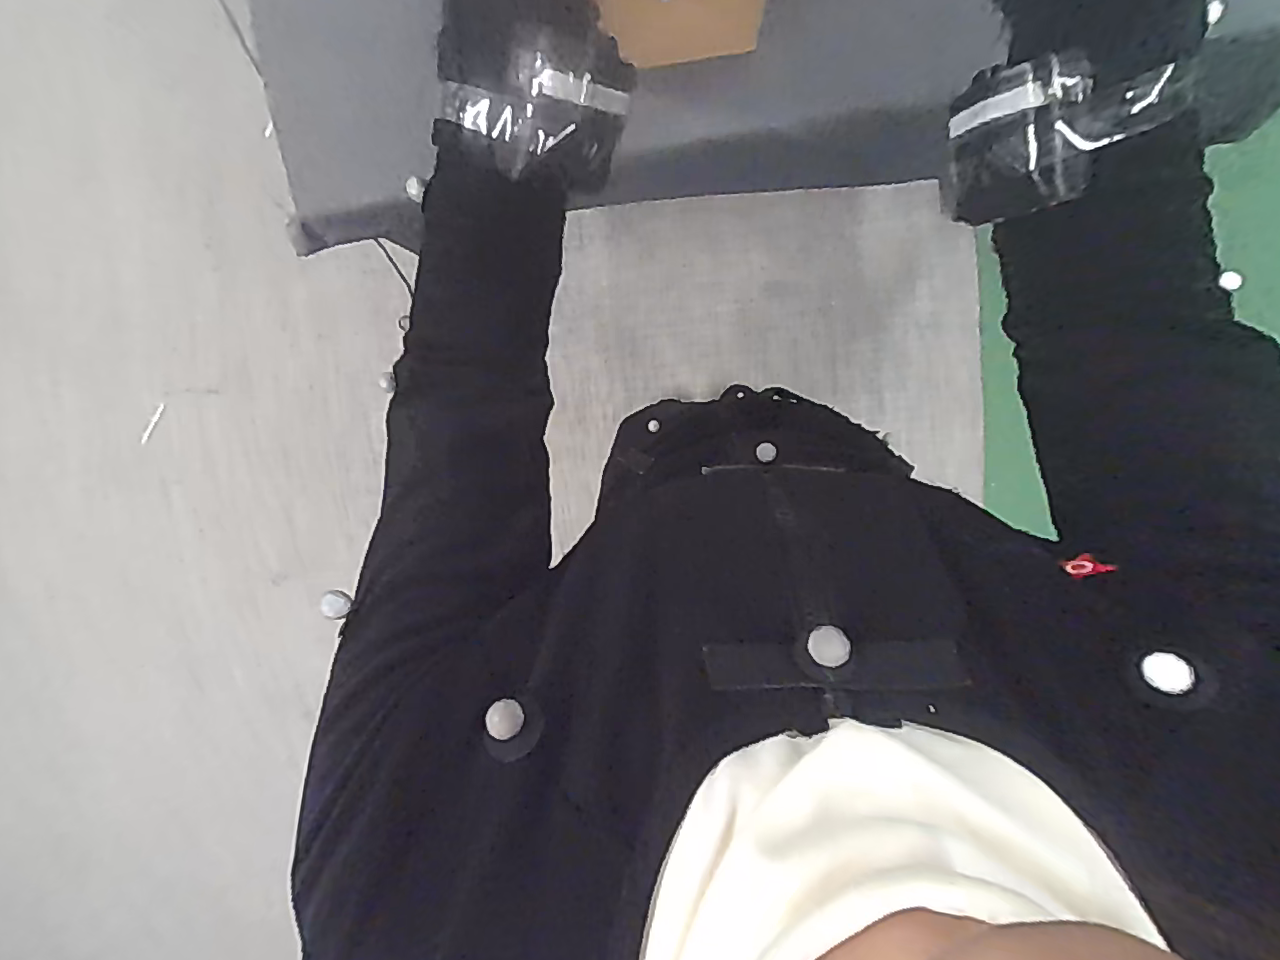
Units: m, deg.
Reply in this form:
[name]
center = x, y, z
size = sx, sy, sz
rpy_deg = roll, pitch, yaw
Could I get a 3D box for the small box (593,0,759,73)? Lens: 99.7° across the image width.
[small box]
center = 0.032, -0.557, 0.552
size = 0.179, 0.176, 0.168
rpy_deg = -6, 99, 5
